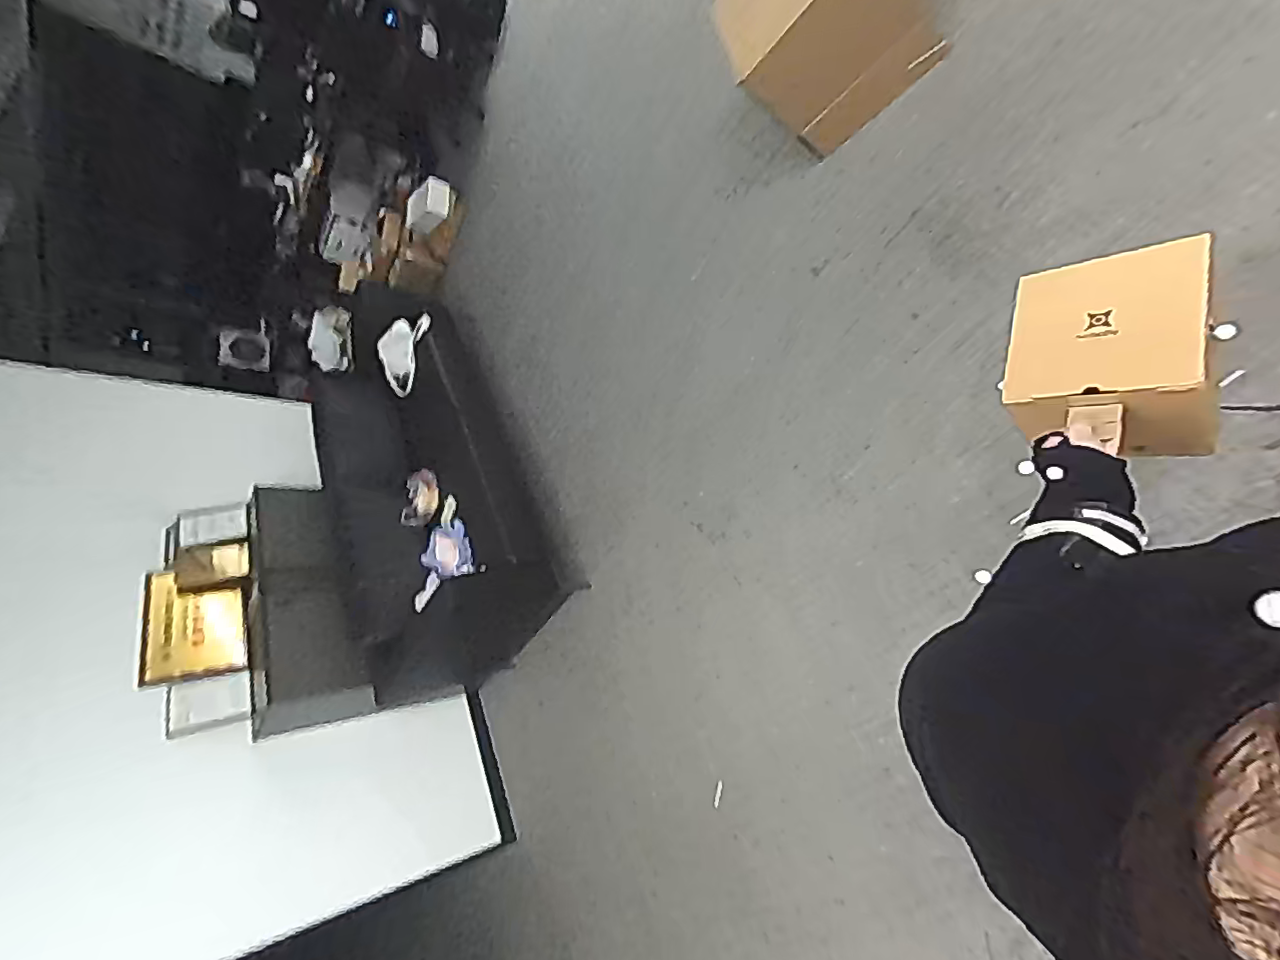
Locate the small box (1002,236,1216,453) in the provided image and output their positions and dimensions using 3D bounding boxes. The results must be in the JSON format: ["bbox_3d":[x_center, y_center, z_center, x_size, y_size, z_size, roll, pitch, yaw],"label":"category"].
[{"bbox_3d":[0.562,-0.146,0.646,0.168,0.176,0.179,3,71,49],"label":"small box"}]
